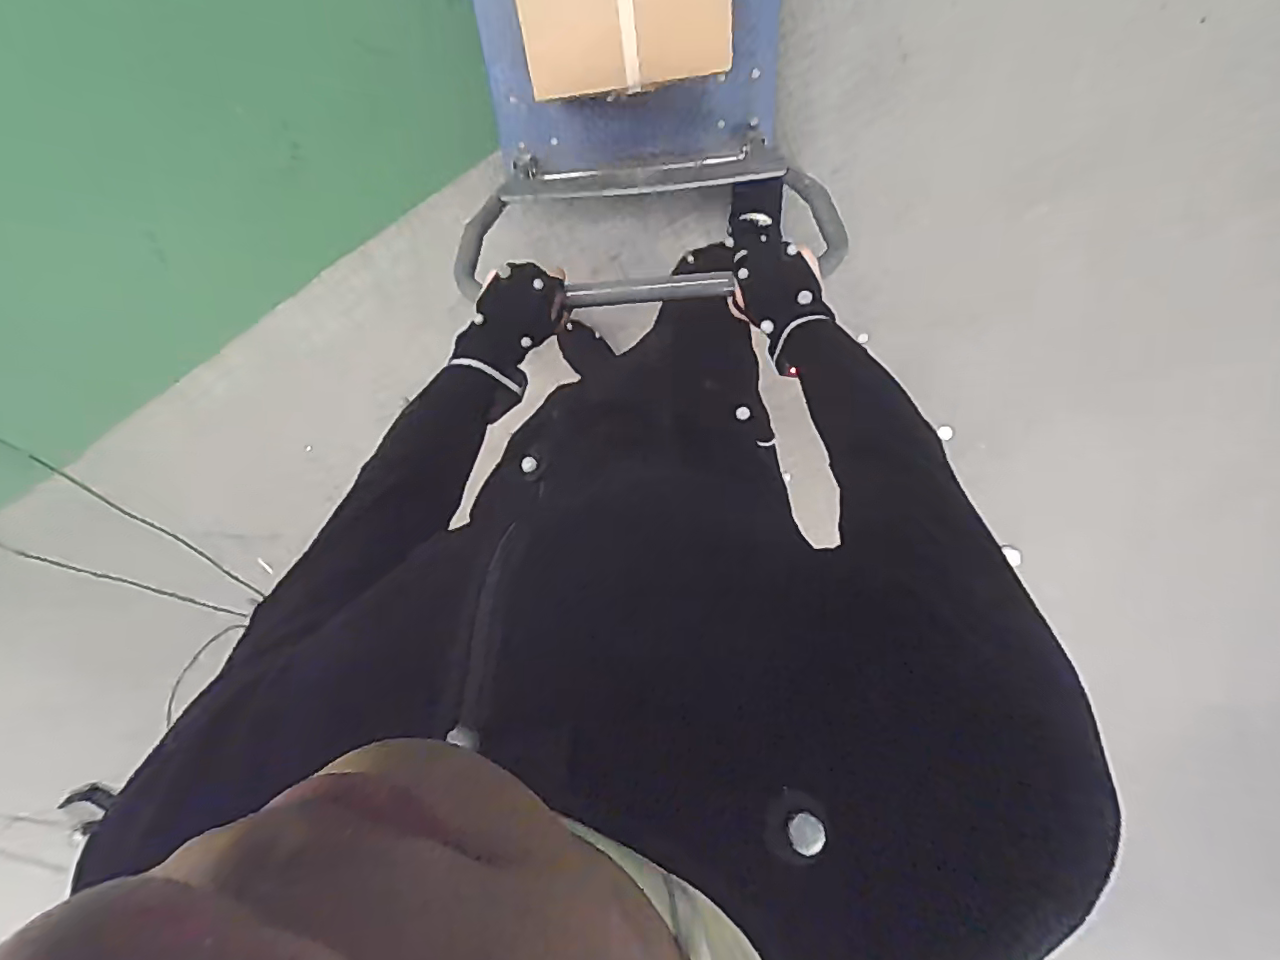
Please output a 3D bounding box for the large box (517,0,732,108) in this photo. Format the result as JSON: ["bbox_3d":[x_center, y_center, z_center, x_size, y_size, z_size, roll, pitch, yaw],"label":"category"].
[{"bbox_3d":[-0.033,-0.858,0.861,0.320,0.320,0.408,-5,125,4],"label":"large box"}]
